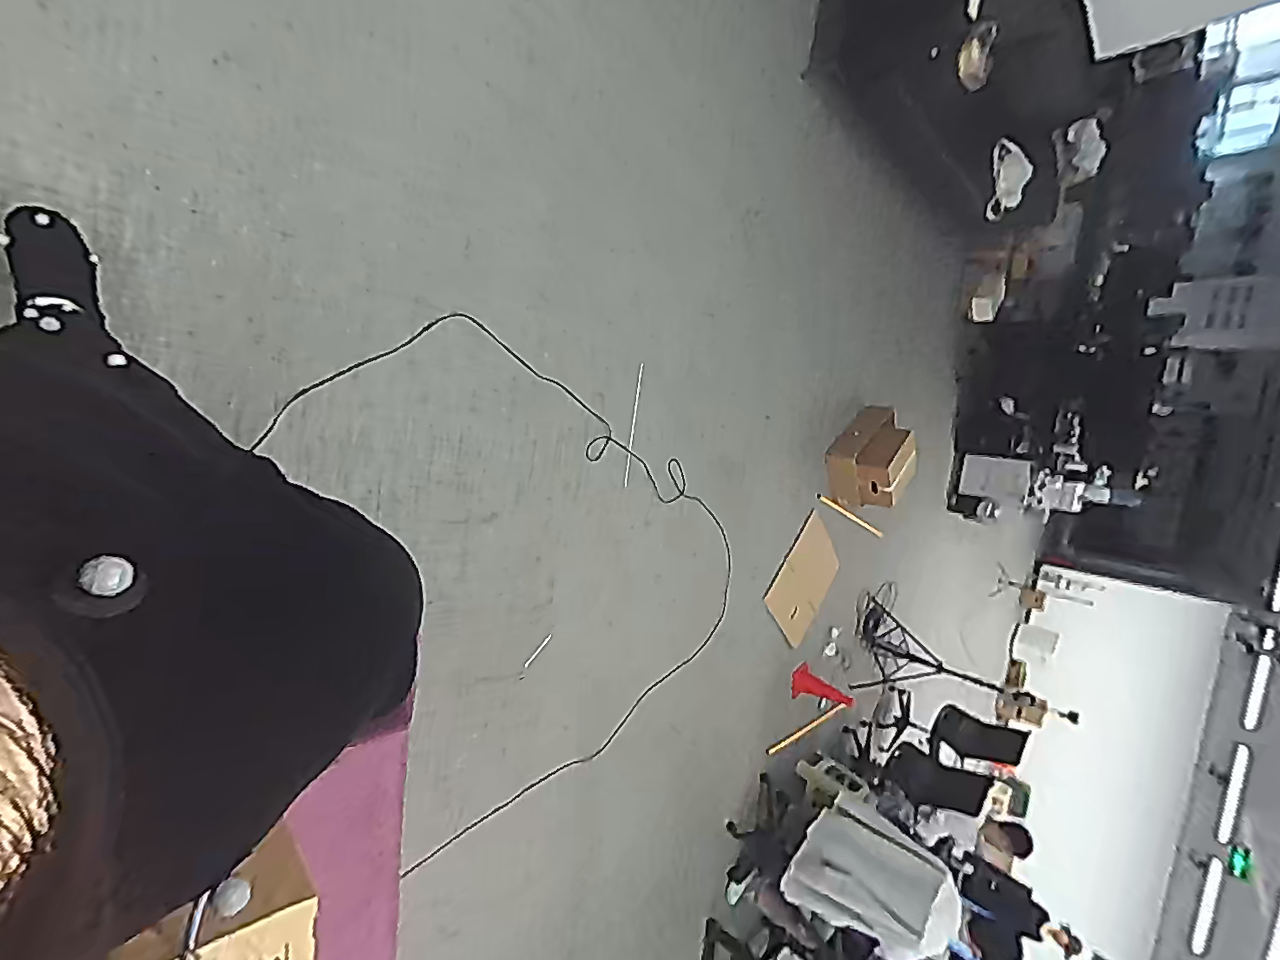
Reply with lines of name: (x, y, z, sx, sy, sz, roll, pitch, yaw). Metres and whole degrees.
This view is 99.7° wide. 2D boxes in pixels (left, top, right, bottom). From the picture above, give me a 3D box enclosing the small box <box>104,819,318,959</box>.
small box: (-0.506, 0.548, 0.637, 0.179, 0.176, 0.168, 1, 98, -45)
